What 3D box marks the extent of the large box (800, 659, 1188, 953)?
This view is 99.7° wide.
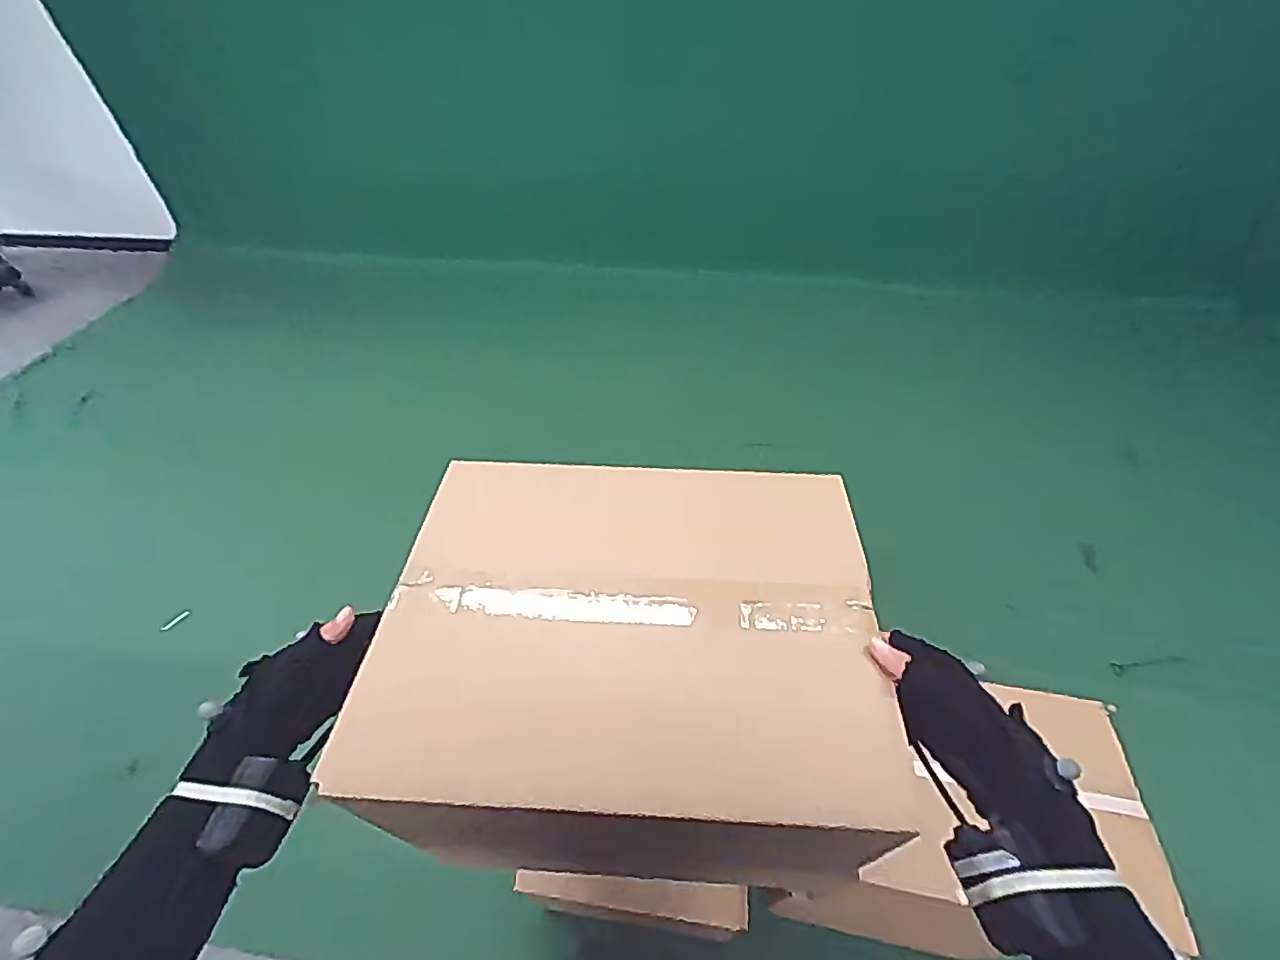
[{"bbox_3d":[0.503,0.534,0.892,0.408,0.320,0.320,8,49,7],"label":"large box"}]
